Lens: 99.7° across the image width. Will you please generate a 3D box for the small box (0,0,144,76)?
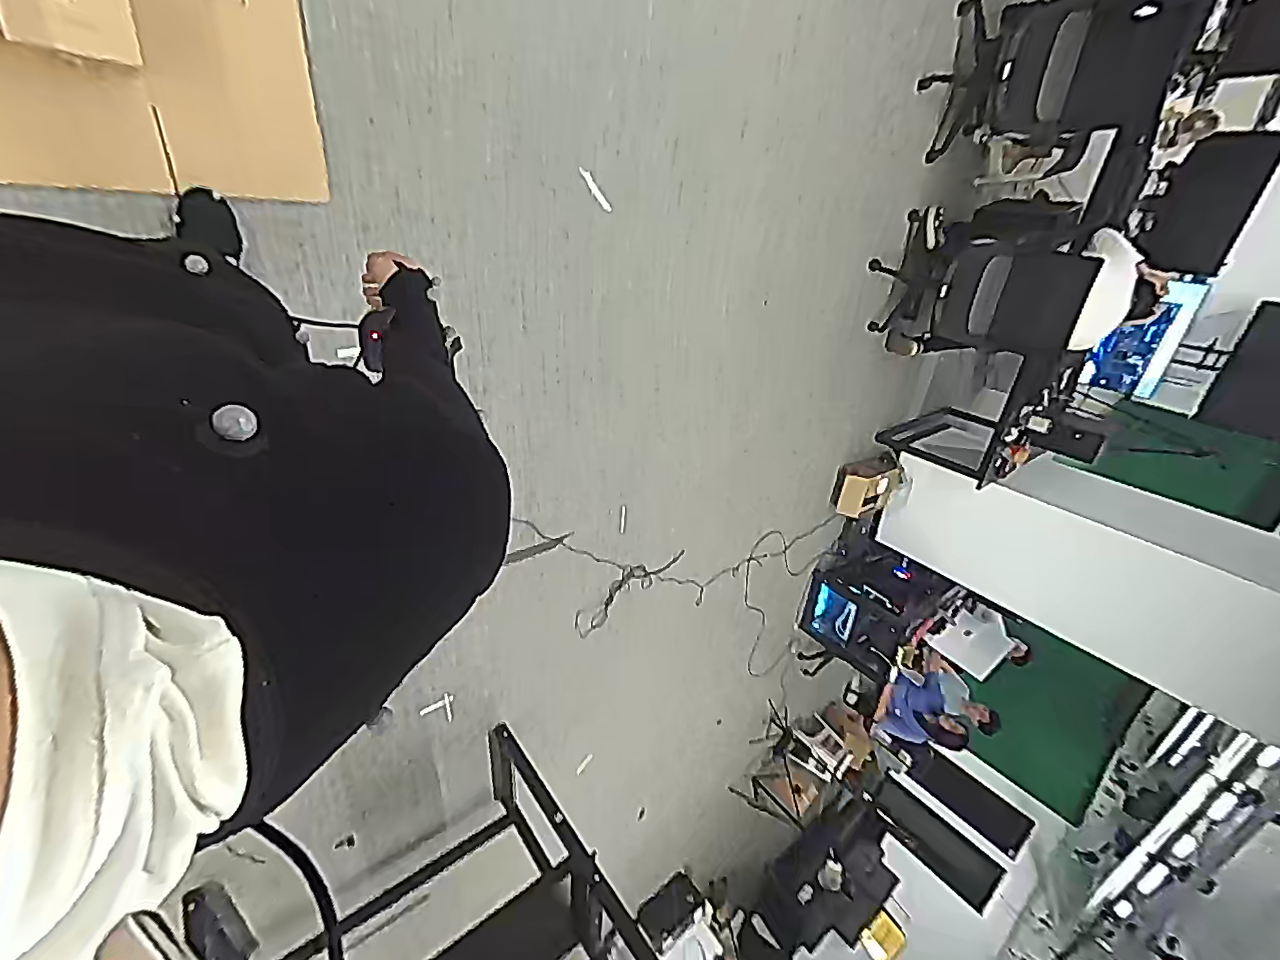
[{"bbox_3d":[-0.957,-0.802,0.896,0.168,0.176,0.179,-14,123,-38],"label":"small box"}]
